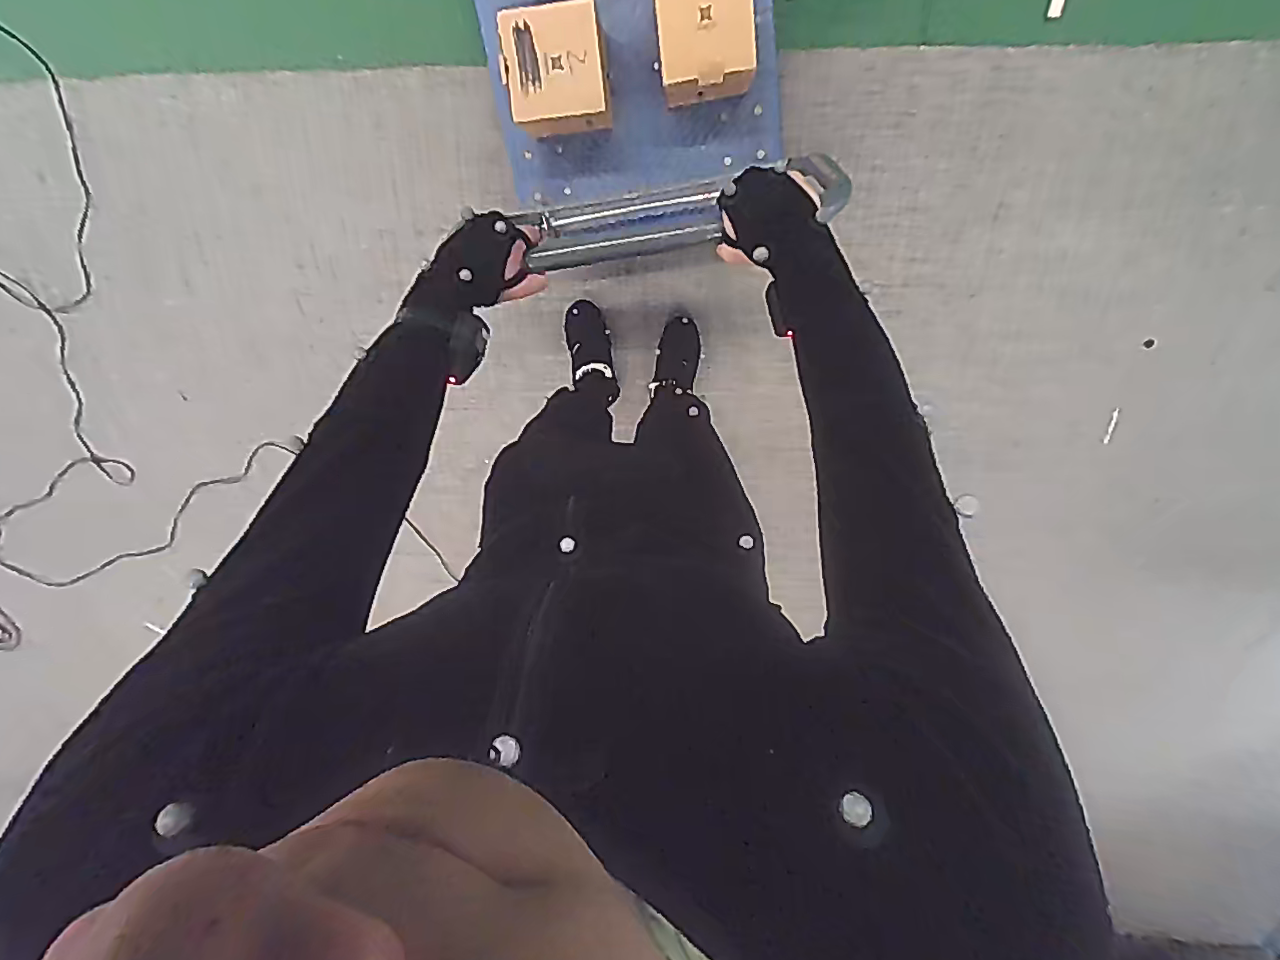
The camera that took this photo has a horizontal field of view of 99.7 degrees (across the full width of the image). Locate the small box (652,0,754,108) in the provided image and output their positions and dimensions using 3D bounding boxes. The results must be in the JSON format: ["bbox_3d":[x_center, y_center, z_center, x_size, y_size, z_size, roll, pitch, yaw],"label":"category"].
[{"bbox_3d":[0.113,-0.819,0.998,0.168,0.176,0.179,-7,114,6],"label":"small box"}]
